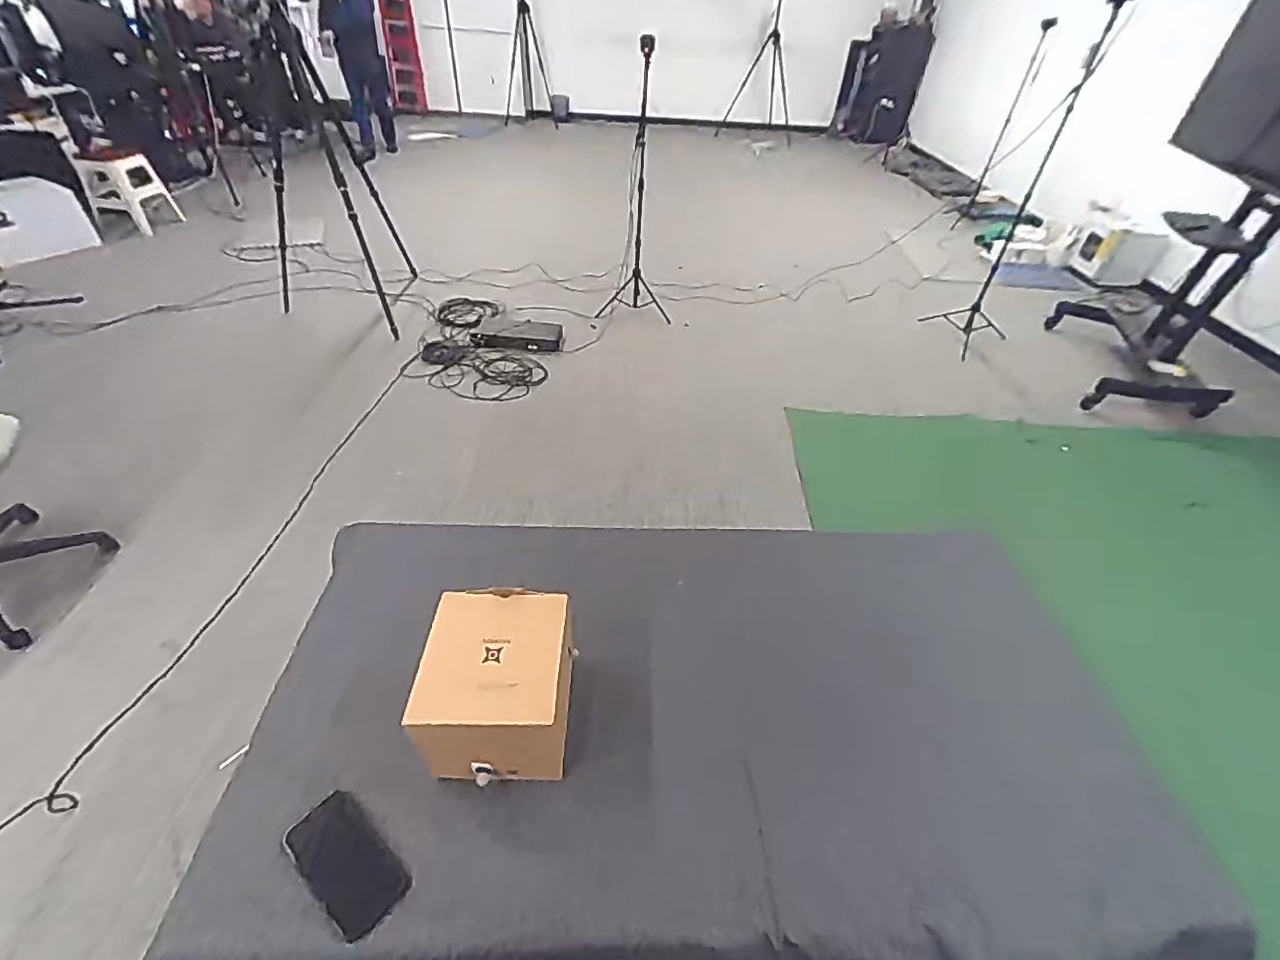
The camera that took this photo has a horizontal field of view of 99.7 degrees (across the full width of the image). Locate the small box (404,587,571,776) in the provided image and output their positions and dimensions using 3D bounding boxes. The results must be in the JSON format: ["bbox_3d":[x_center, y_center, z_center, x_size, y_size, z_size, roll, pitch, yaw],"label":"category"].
[{"bbox_3d":[-0.180,0.260,0.703,0.168,0.176,0.179,1,43,-2],"label":"small box"}]
